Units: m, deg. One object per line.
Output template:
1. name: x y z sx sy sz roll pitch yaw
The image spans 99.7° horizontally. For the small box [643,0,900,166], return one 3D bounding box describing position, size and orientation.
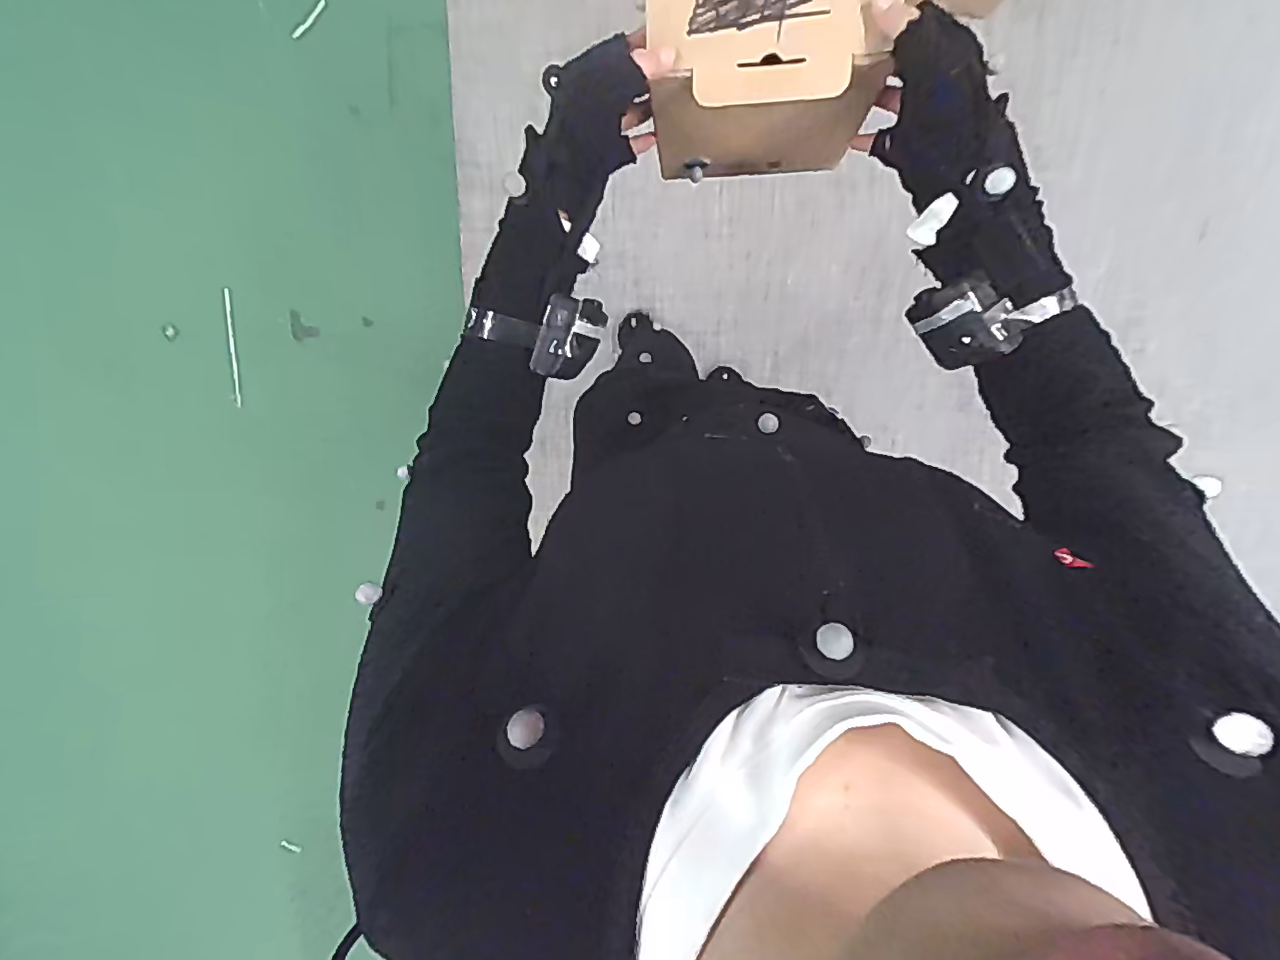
1. small box: 0.092 -0.368 0.421 0.168 0.176 0.179 -1 96 6
